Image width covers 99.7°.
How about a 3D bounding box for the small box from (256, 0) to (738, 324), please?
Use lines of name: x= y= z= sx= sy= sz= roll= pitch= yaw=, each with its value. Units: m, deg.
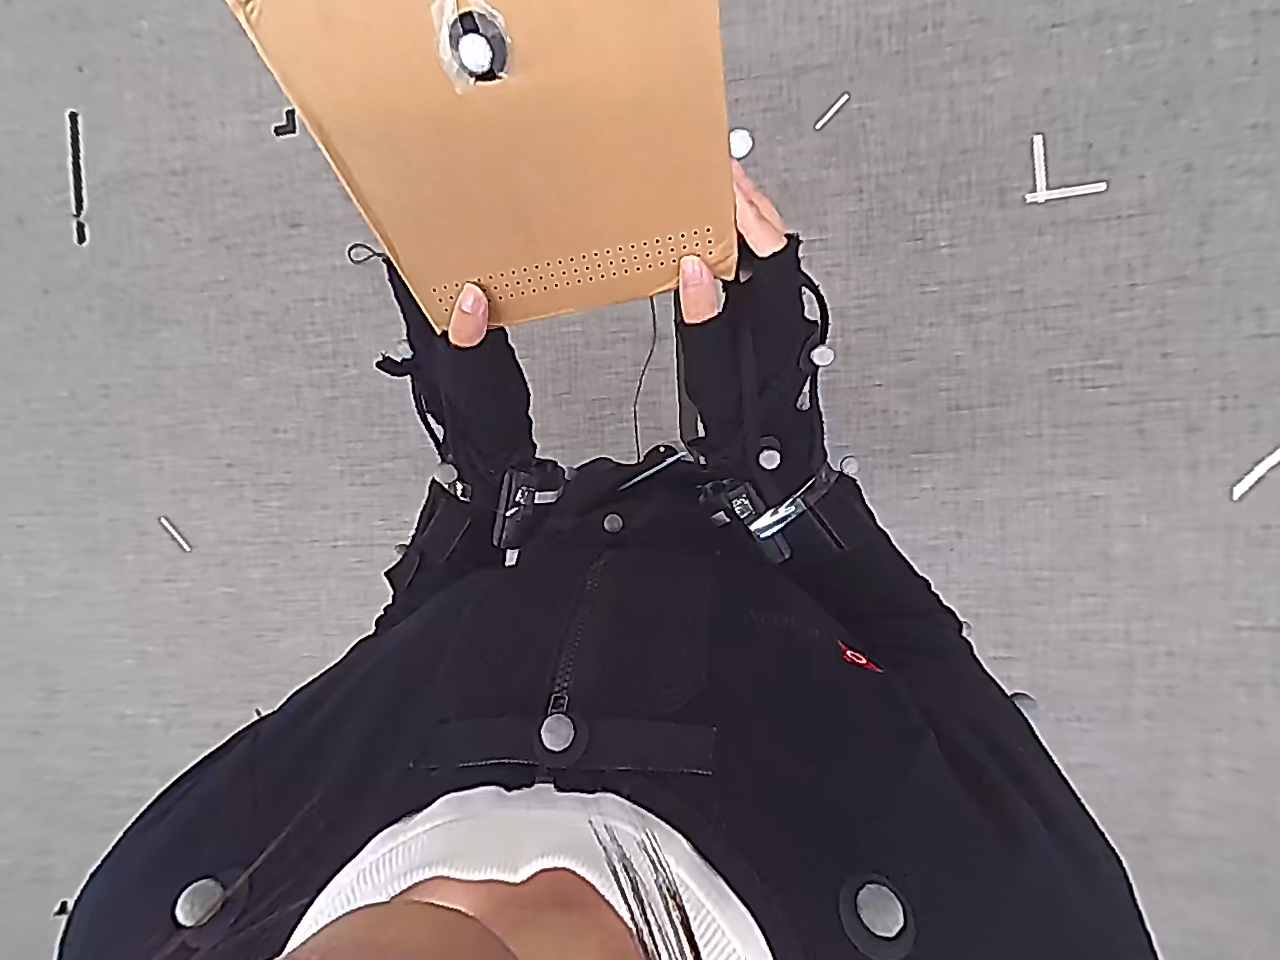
small box: x=-0.047 y=-0.210 z=0.302 sx=0.179 sy=0.176 sz=0.168 roll=-8 pitch=53 yaw=9
